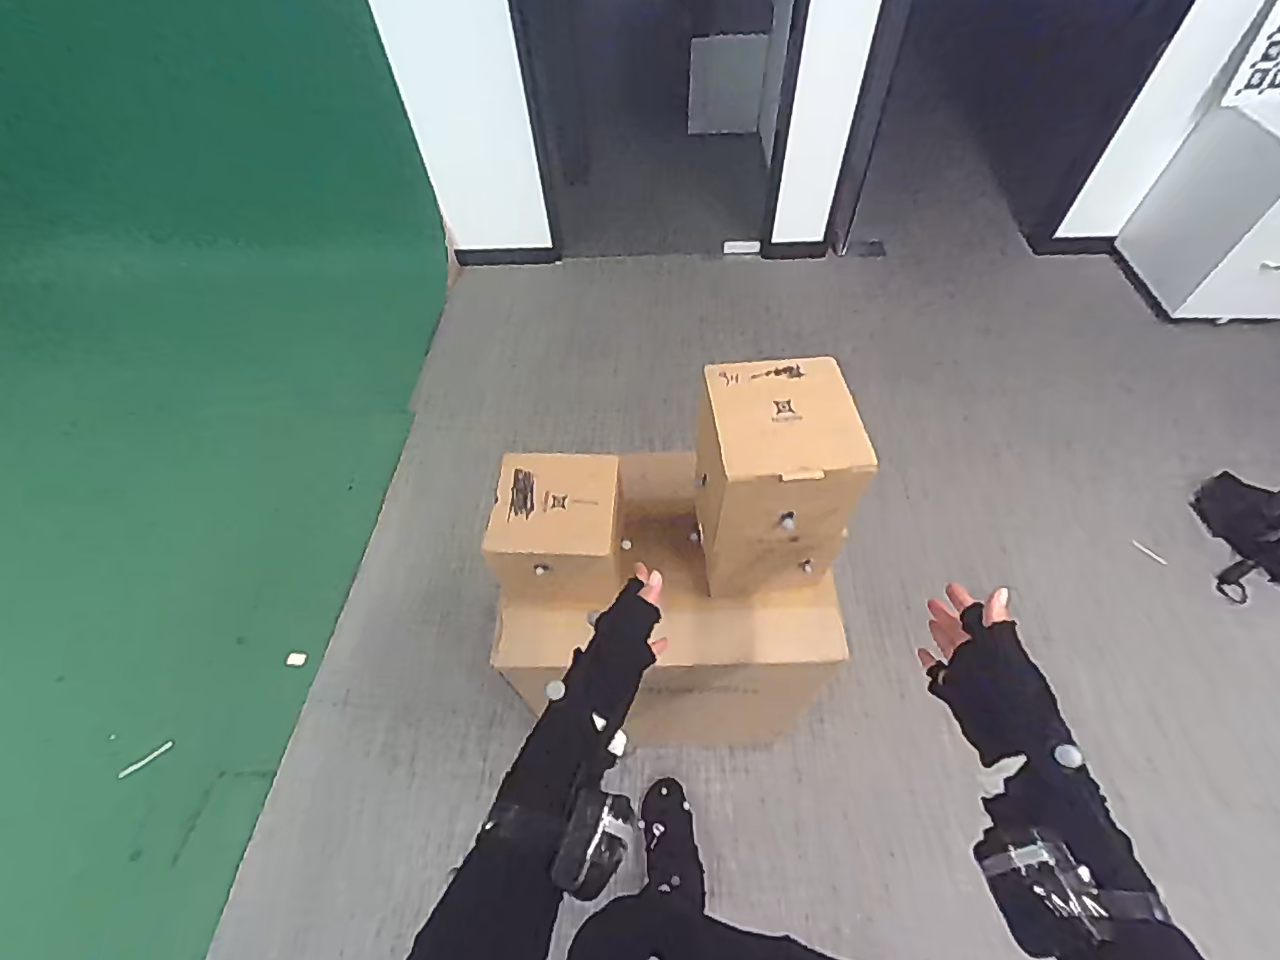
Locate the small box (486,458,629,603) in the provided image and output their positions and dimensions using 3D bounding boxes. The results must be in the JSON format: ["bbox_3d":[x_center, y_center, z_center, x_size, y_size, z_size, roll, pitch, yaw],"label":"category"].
[{"bbox_3d":[-0.115,0.082,0.834,0.179,0.176,0.168,1,56,4],"label":"small box"}]

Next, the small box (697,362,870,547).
[{"bbox_3d":[0.167,-0.024,0.693,0.168,0.176,0.179,-5,55,-1],"label":"small box"}]

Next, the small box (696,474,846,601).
[{"bbox_3d":[0.185,0.069,0.827,0.179,0.176,0.168,-9,54,-1],"label":"small box"}]
